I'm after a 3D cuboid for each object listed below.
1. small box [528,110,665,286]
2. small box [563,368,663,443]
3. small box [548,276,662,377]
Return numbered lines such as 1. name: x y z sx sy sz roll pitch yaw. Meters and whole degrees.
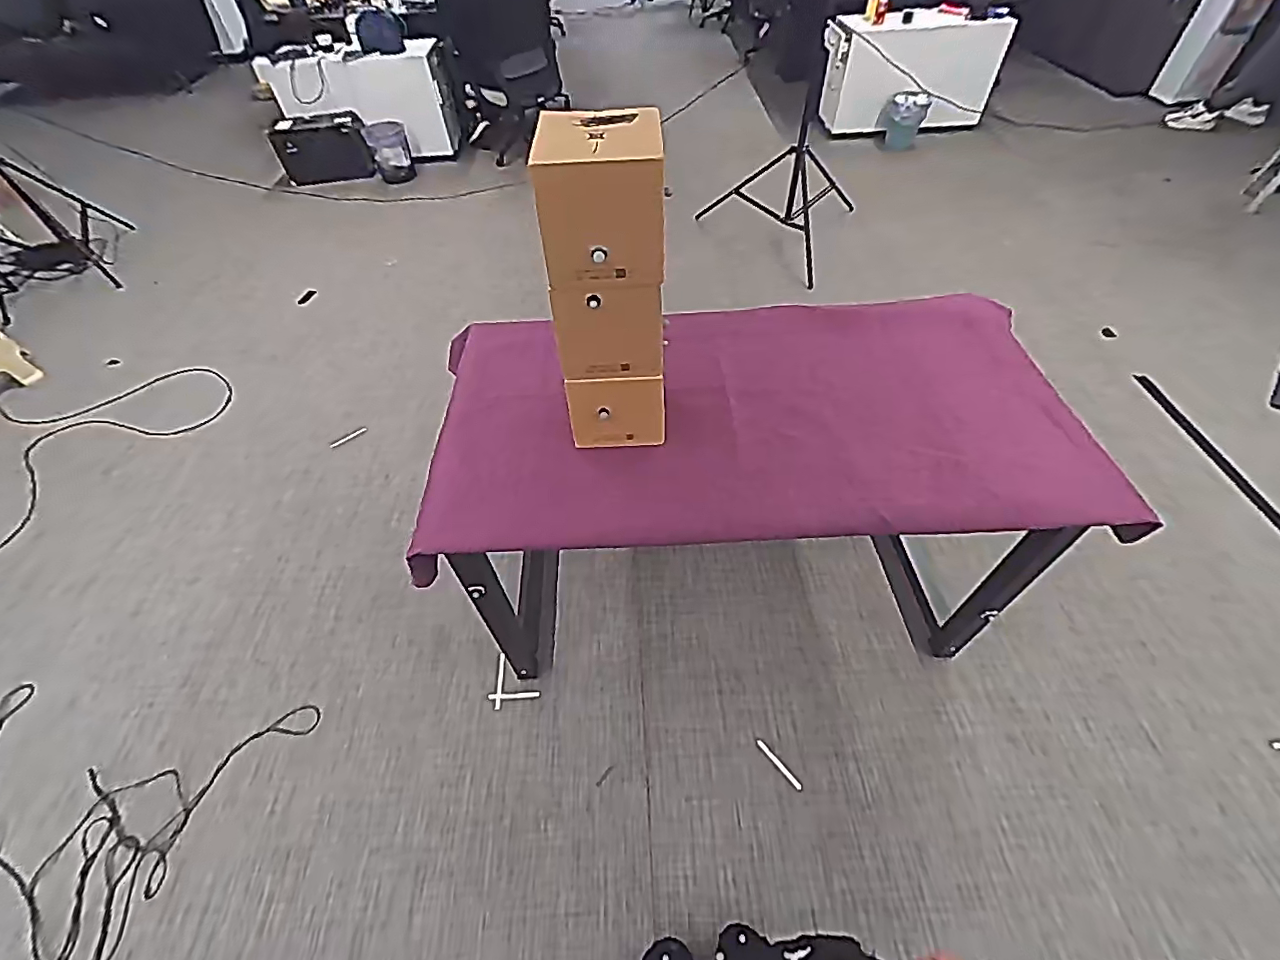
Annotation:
1. small box: -0.051 -0.393 0.758 0.168 0.176 0.179 -2 51 1
2. small box: -0.043 -0.181 1.009 0.168 0.176 0.179 -2 50 1
3. small box: -0.050 -0.289 0.886 0.168 0.176 0.179 -3 50 1
